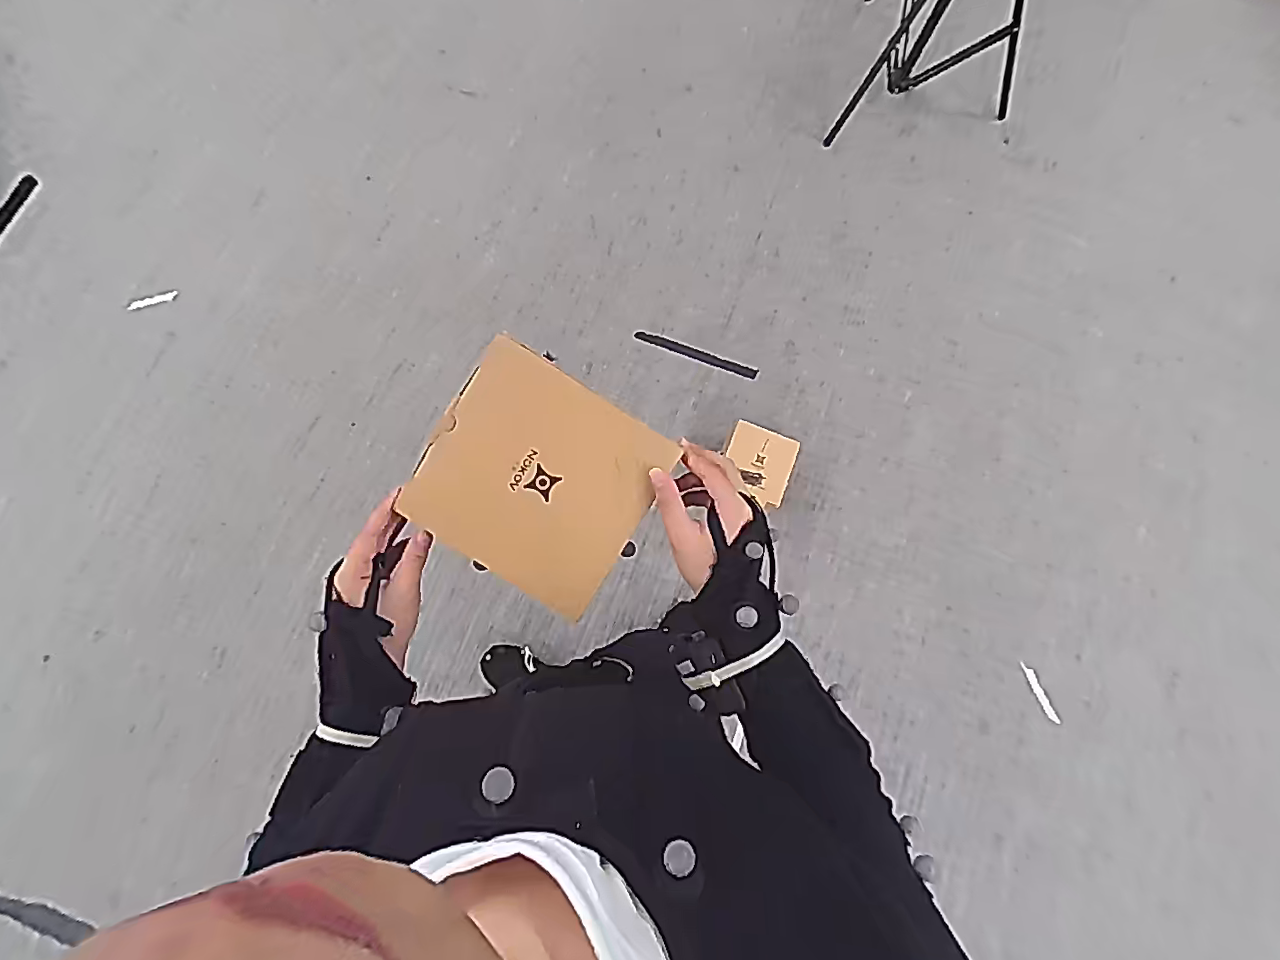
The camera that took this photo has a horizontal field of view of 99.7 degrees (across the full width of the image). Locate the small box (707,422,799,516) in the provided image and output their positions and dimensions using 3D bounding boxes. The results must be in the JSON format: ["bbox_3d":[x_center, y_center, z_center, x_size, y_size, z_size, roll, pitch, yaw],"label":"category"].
[{"bbox_3d":[0.279,-0.020,1.382,0.168,0.176,0.179,22,78,2],"label":"small box"}]
